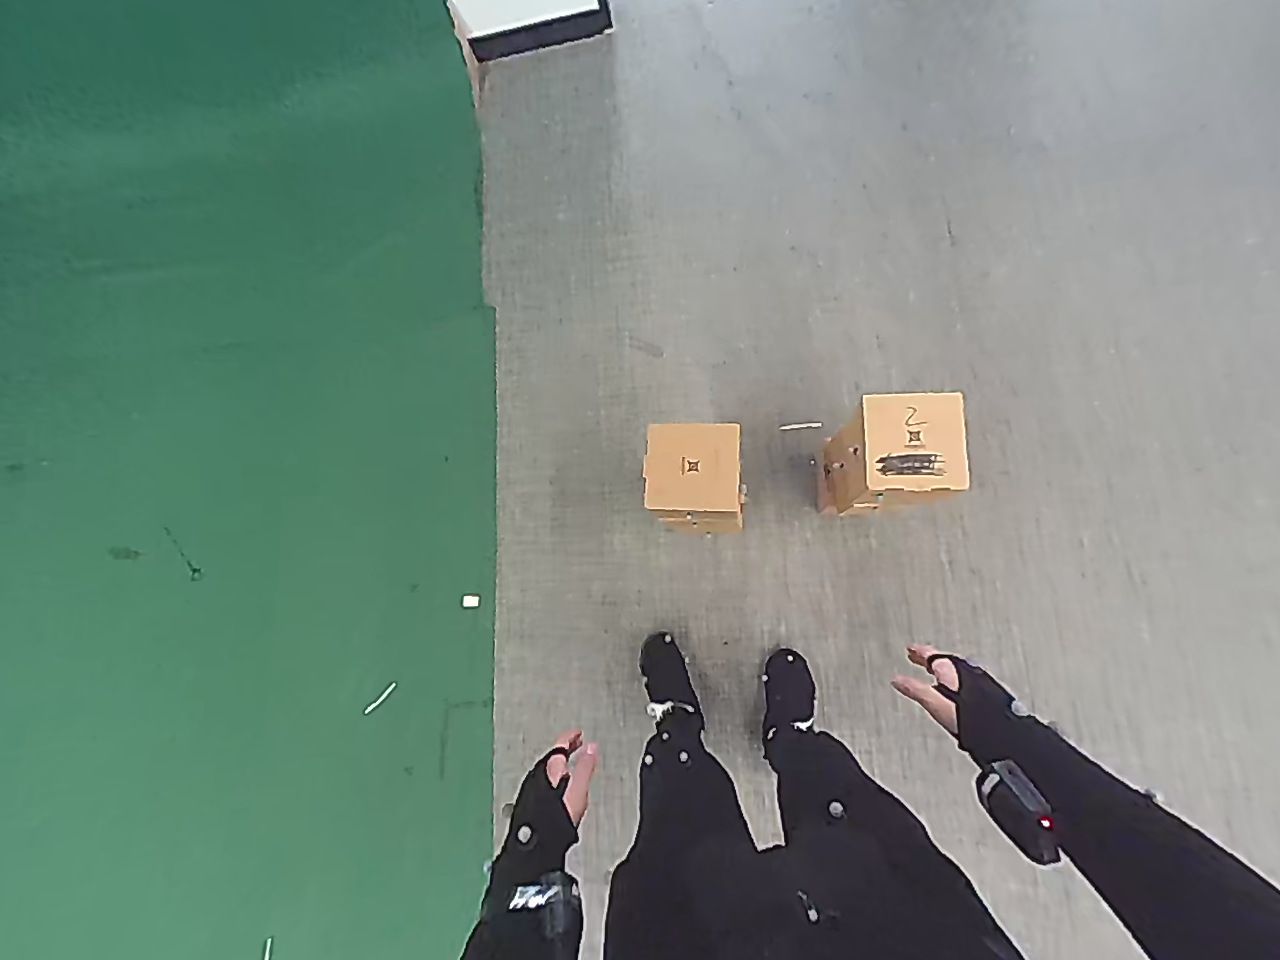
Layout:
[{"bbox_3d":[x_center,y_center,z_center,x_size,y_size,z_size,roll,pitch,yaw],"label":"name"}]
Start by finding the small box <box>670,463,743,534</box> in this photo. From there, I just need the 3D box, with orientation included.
[{"bbox_3d":[0.172,0.050,1.389,0.179,0.176,0.168,-2,79,9],"label":"small box"}]

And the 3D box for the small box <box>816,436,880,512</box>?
[{"bbox_3d":[0.536,-0.013,1.335,0.179,0.176,0.168,-4,79,9],"label":"small box"}]

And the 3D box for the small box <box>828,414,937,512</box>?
[{"bbox_3d":[0.515,-0.028,1.173,0.168,0.176,0.179,-8,79,8],"label":"small box"}]

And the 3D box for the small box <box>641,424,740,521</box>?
[{"bbox_3d":[0.106,-0.010,1.073,0.179,0.176,0.168,1,81,10],"label":"small box"}]

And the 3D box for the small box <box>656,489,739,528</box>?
[{"bbox_3d":[0.136,0.020,1.231,0.179,0.176,0.168,-1,80,10],"label":"small box"}]
